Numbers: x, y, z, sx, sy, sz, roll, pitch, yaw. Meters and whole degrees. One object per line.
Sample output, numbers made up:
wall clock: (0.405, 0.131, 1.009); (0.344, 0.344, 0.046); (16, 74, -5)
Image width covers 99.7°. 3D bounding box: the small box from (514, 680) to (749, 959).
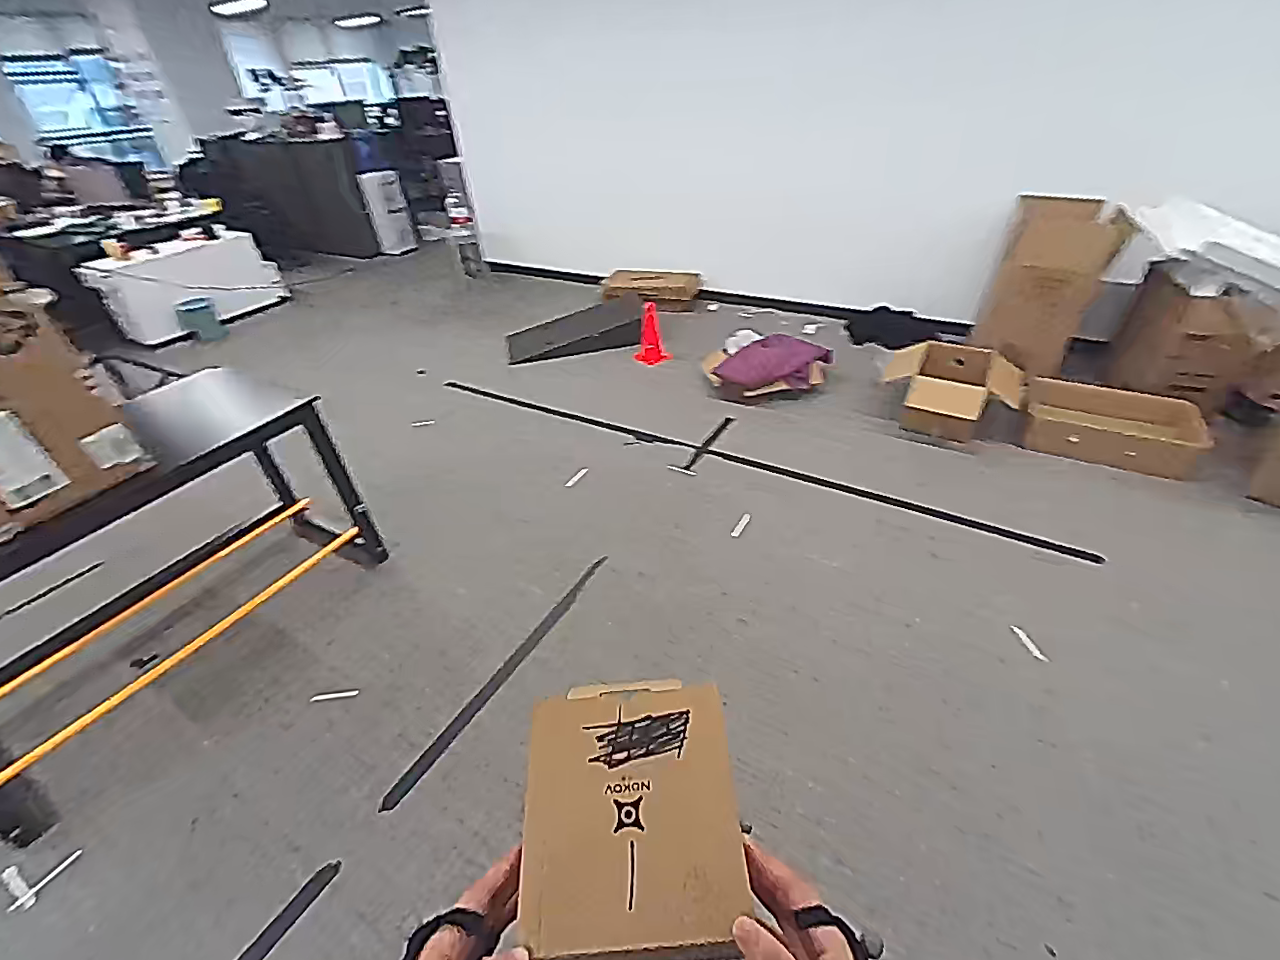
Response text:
small box: (-0.005, 0.306, 0.484); (0.168, 0.176, 0.179); (-7, 45, 1)
